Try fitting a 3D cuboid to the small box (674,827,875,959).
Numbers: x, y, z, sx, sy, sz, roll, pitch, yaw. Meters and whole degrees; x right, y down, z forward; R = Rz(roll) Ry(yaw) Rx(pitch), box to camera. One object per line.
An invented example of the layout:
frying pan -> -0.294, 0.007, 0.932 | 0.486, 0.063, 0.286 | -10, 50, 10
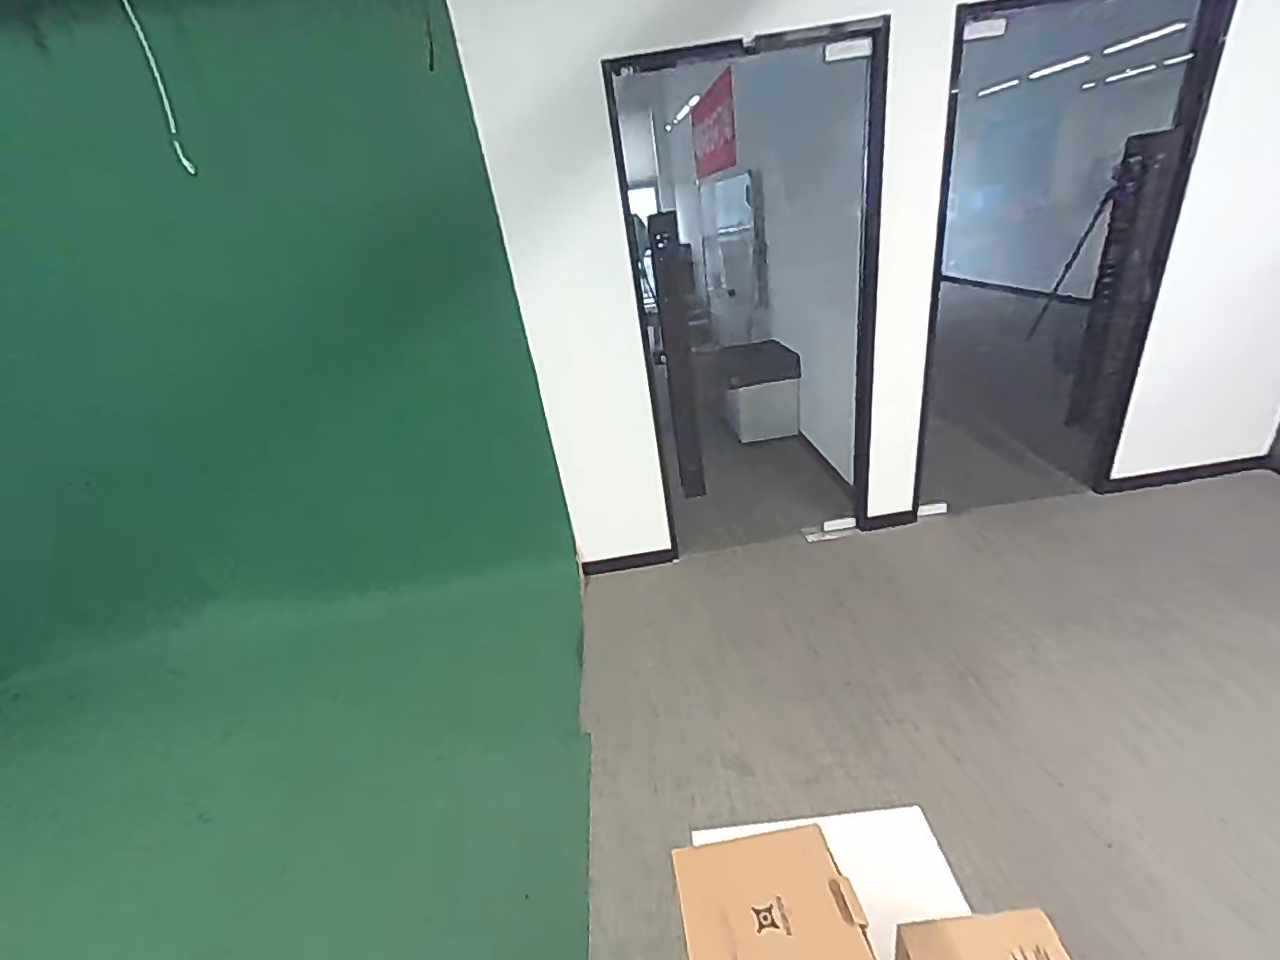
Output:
small box -> 0.140, 0.518, 0.579 | 0.179, 0.176, 0.168 | -10, 25, -3
